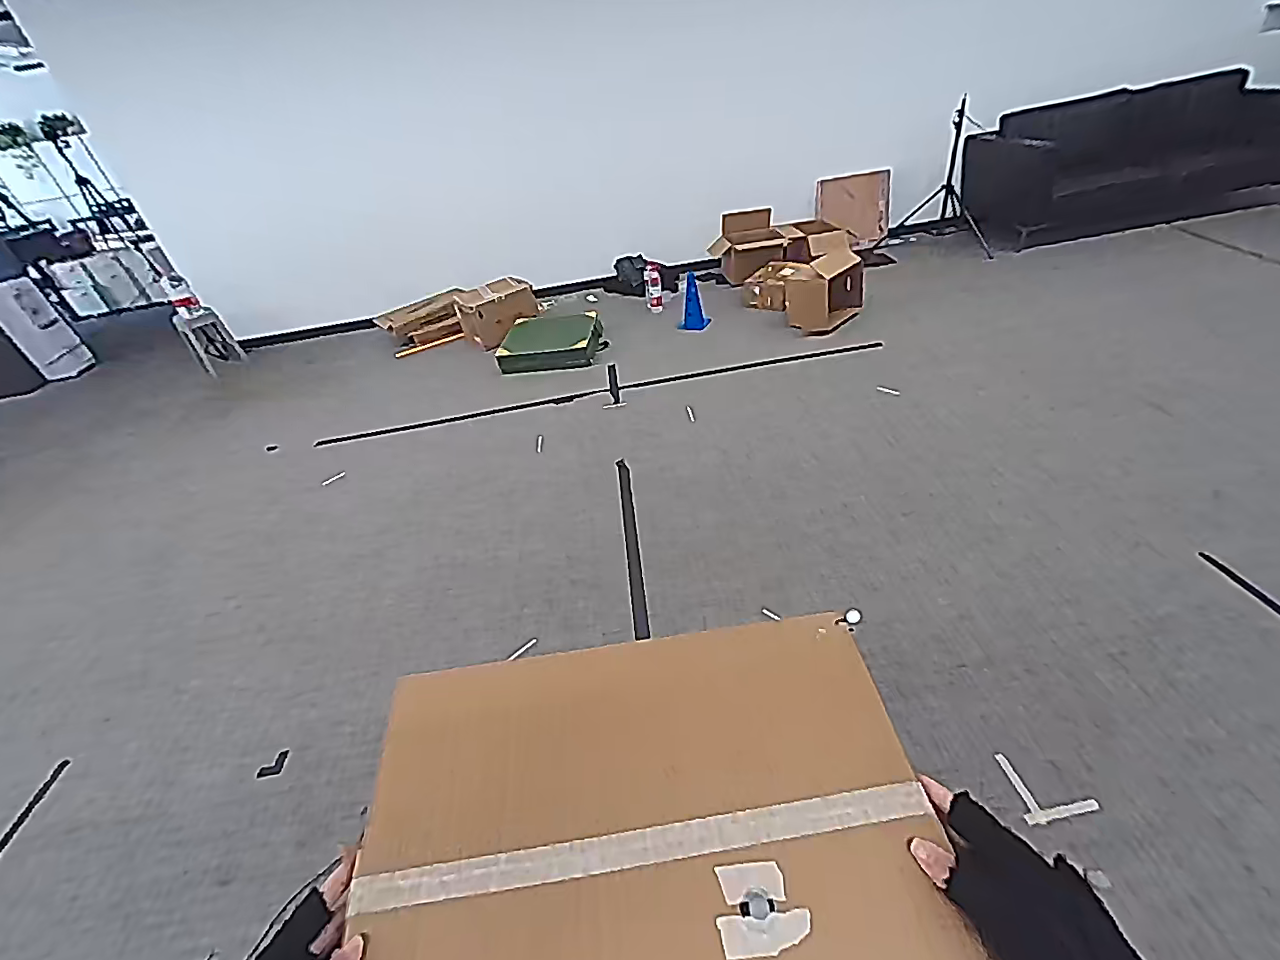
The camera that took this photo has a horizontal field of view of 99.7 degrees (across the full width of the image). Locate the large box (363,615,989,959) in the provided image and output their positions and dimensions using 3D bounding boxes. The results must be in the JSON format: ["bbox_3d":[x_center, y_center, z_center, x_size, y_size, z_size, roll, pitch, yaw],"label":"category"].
[{"bbox_3d":[0.016,0.366,0.497,0.408,0.320,0.320,-7,45,-3],"label":"large box"}]
